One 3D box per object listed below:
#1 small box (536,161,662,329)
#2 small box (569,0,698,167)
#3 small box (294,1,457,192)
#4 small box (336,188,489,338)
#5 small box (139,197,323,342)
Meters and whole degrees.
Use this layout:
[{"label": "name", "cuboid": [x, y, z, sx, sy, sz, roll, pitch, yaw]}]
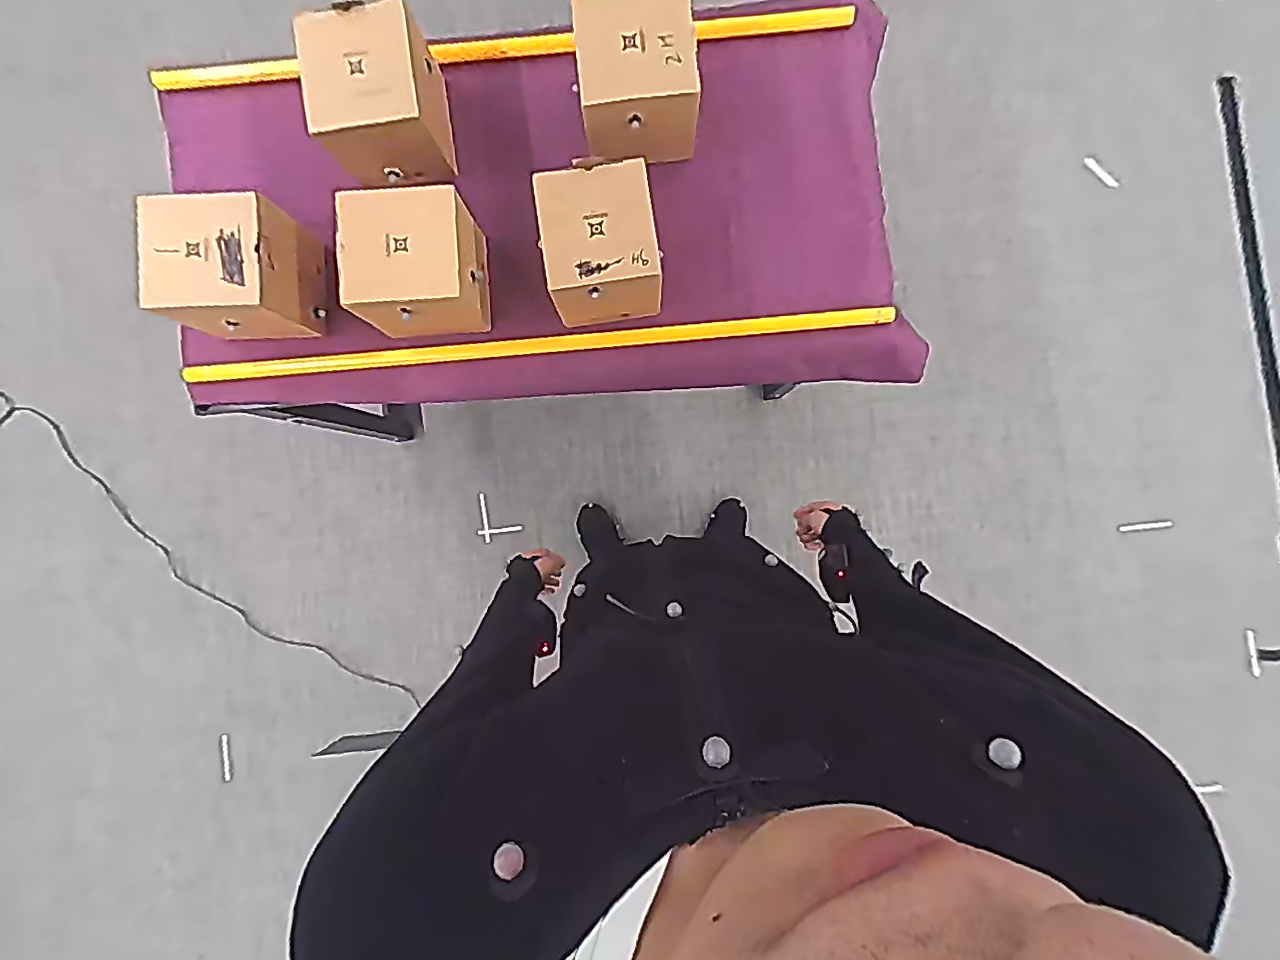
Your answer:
[{"label": "small box", "cuboid": [-0.059, -0.358, 0.850, 0.168, 0.176, 0.179, -8, 86, 1]}, {"label": "small box", "cuboid": [-0.007, -0.622, 0.854, 0.179, 0.176, 0.168, -6, 90, 1]}, {"label": "small box", "cuboid": [-0.408, -0.594, 0.858, 0.168, 0.176, 0.179, -8, 90, 1]}, {"label": "small box", "cuboid": [-0.344, -0.331, 0.853, 0.179, 0.176, 0.168, -4, 89, 1]}, {"label": "small box", "cuboid": [-0.627, -0.322, 0.852, 0.179, 0.176, 0.168, -2, 89, 0]}]
